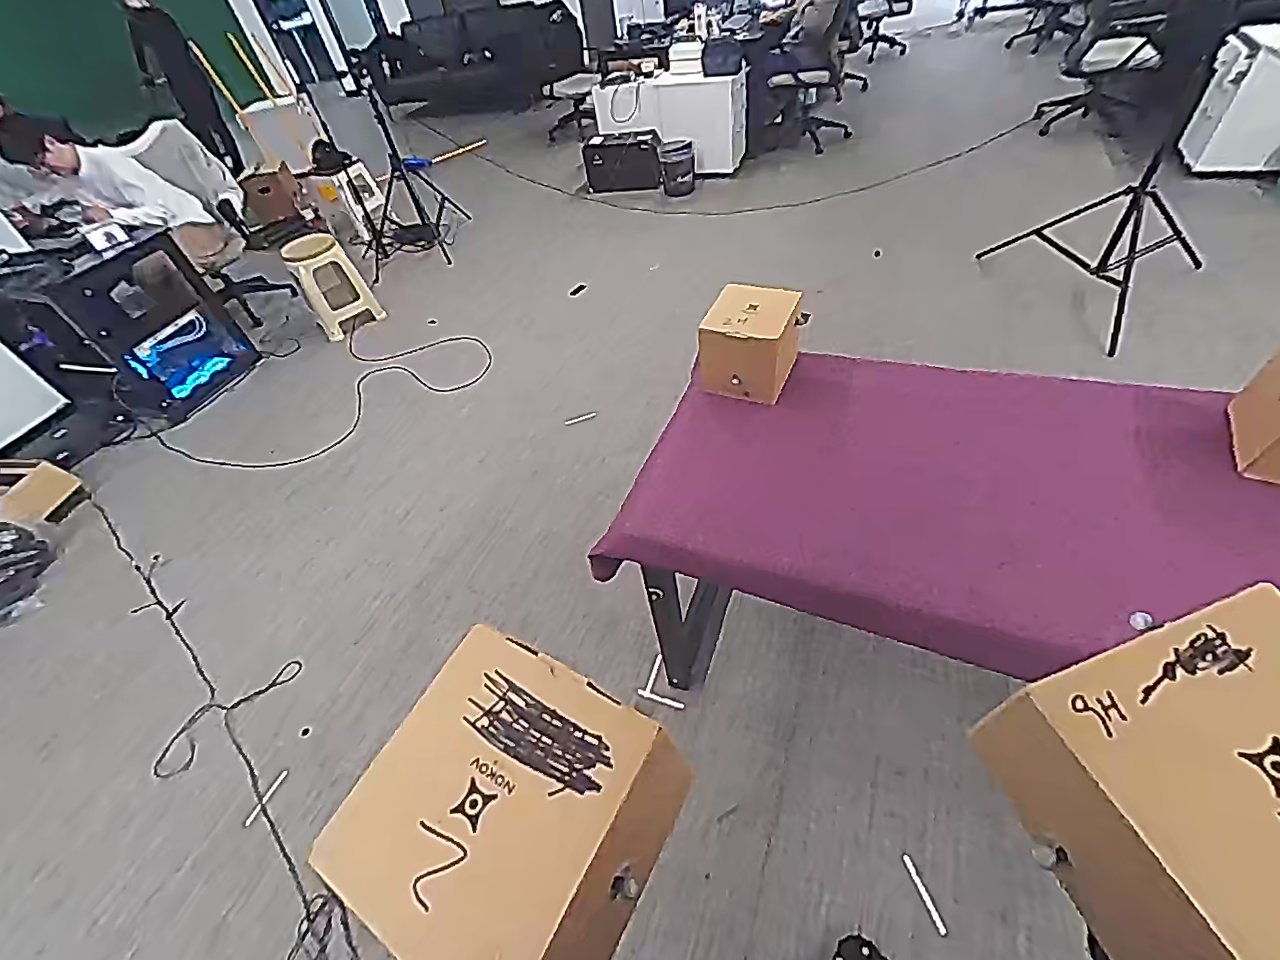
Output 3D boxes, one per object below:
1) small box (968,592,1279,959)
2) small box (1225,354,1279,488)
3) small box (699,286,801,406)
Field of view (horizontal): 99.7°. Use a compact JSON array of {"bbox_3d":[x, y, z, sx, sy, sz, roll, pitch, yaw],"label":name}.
[{"bbox_3d":[0.357,0.205,0.349,0.168,0.176,0.179,-23,54,0],"label":"small box"},{"bbox_3d":[1.071,-0.094,0.840,0.168,0.176,0.179,16,57,23],"label":"small box"},{"bbox_3d":[0.235,-0.288,1.163,0.168,0.176,0.179,16,54,23],"label":"small box"}]
